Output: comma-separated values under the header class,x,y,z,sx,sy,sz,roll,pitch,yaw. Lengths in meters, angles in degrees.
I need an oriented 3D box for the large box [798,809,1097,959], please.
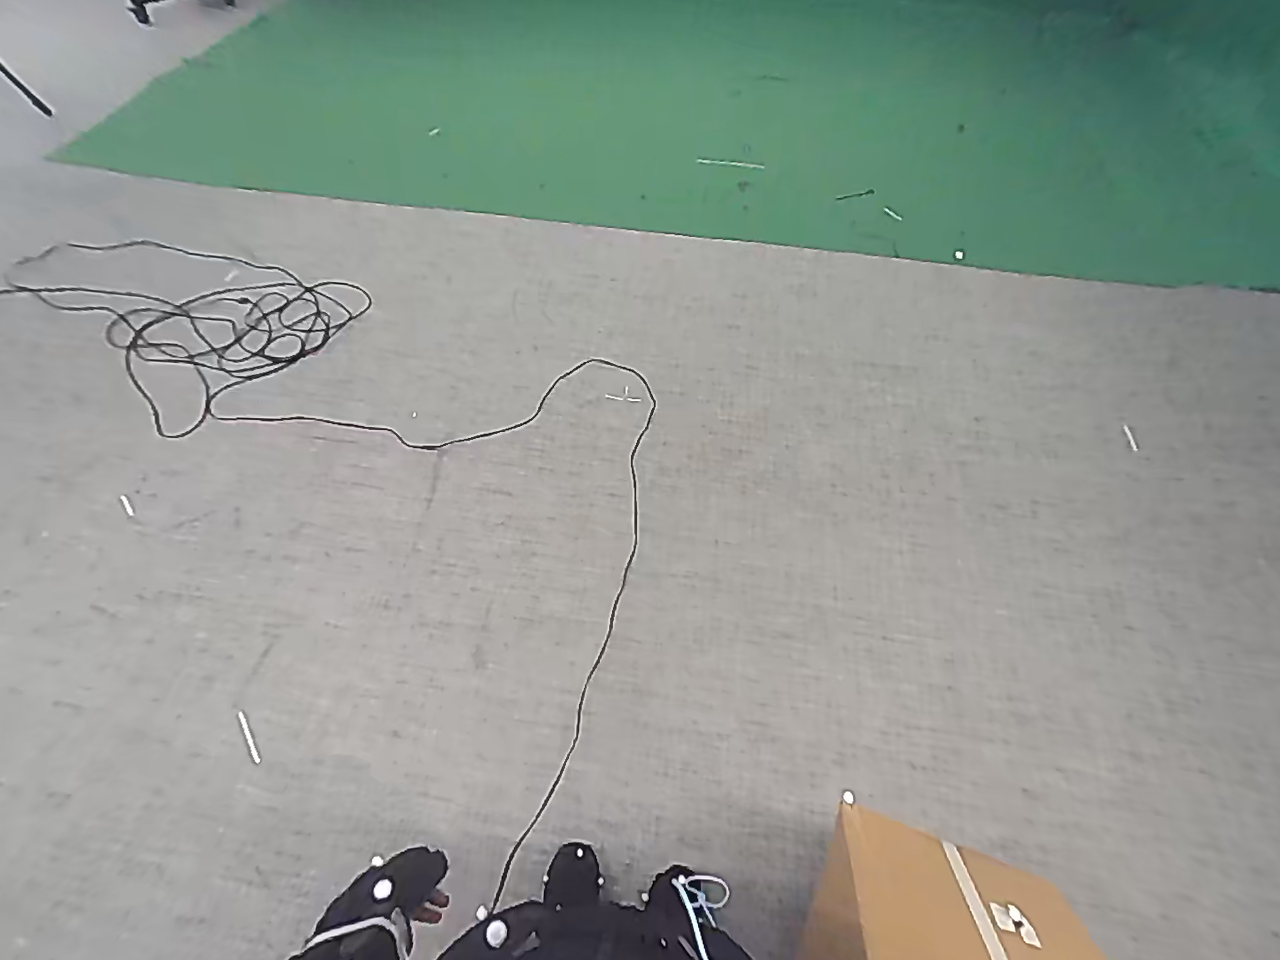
class,x,y,z,sx,sy,sz,roll,pitch,yaw
large box,0.377,0.710,0.648,0.320,0.408,0.320,17,94,14
